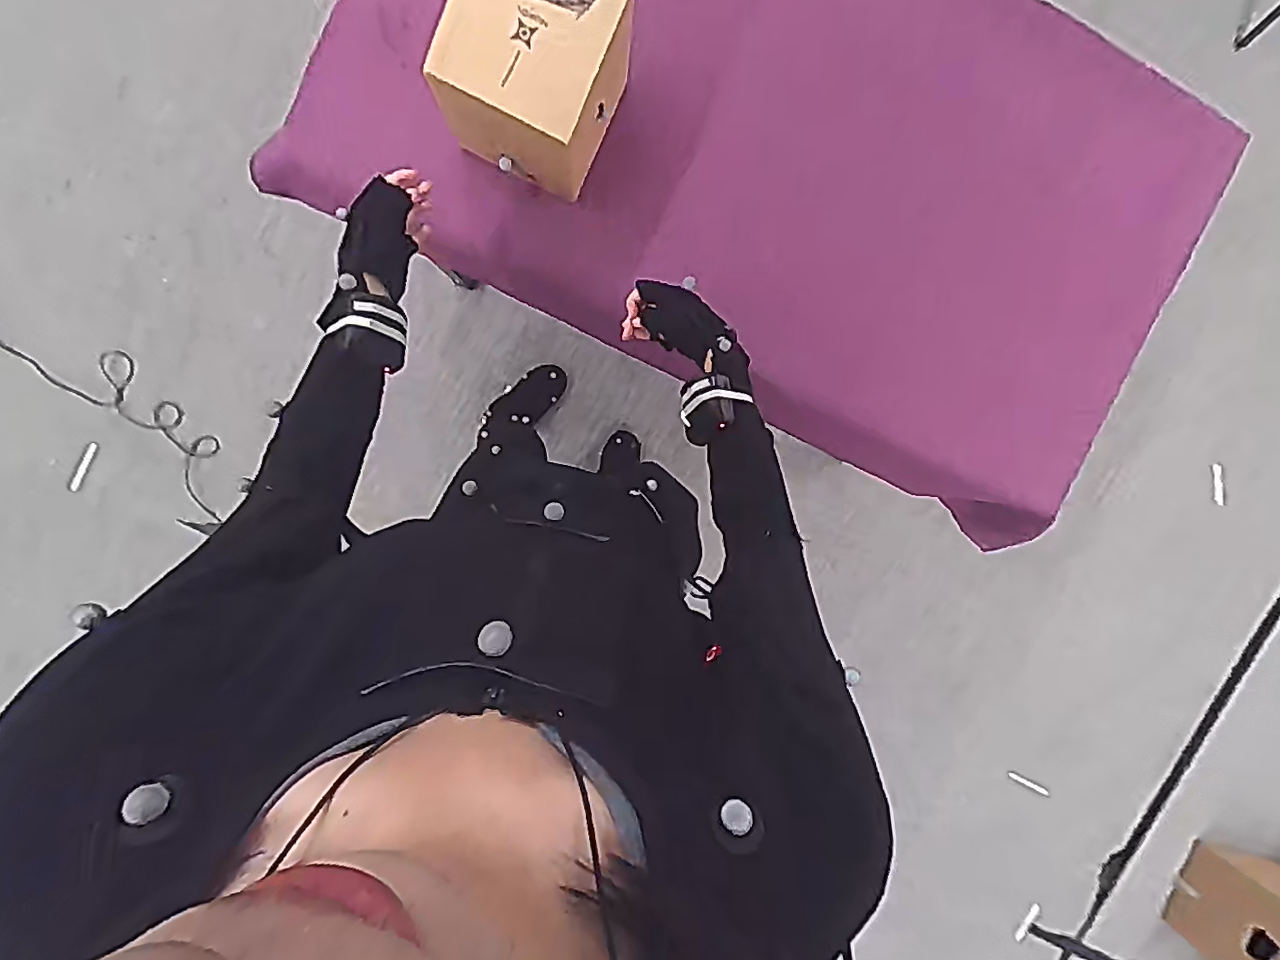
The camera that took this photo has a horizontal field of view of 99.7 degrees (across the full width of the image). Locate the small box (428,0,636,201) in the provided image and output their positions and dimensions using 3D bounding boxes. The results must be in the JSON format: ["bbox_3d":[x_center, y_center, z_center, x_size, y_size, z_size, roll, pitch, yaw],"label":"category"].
[{"bbox_3d":[-0.119,-0.474,0.640,0.168,0.176,0.179,24,95,-6],"label":"small box"}]
